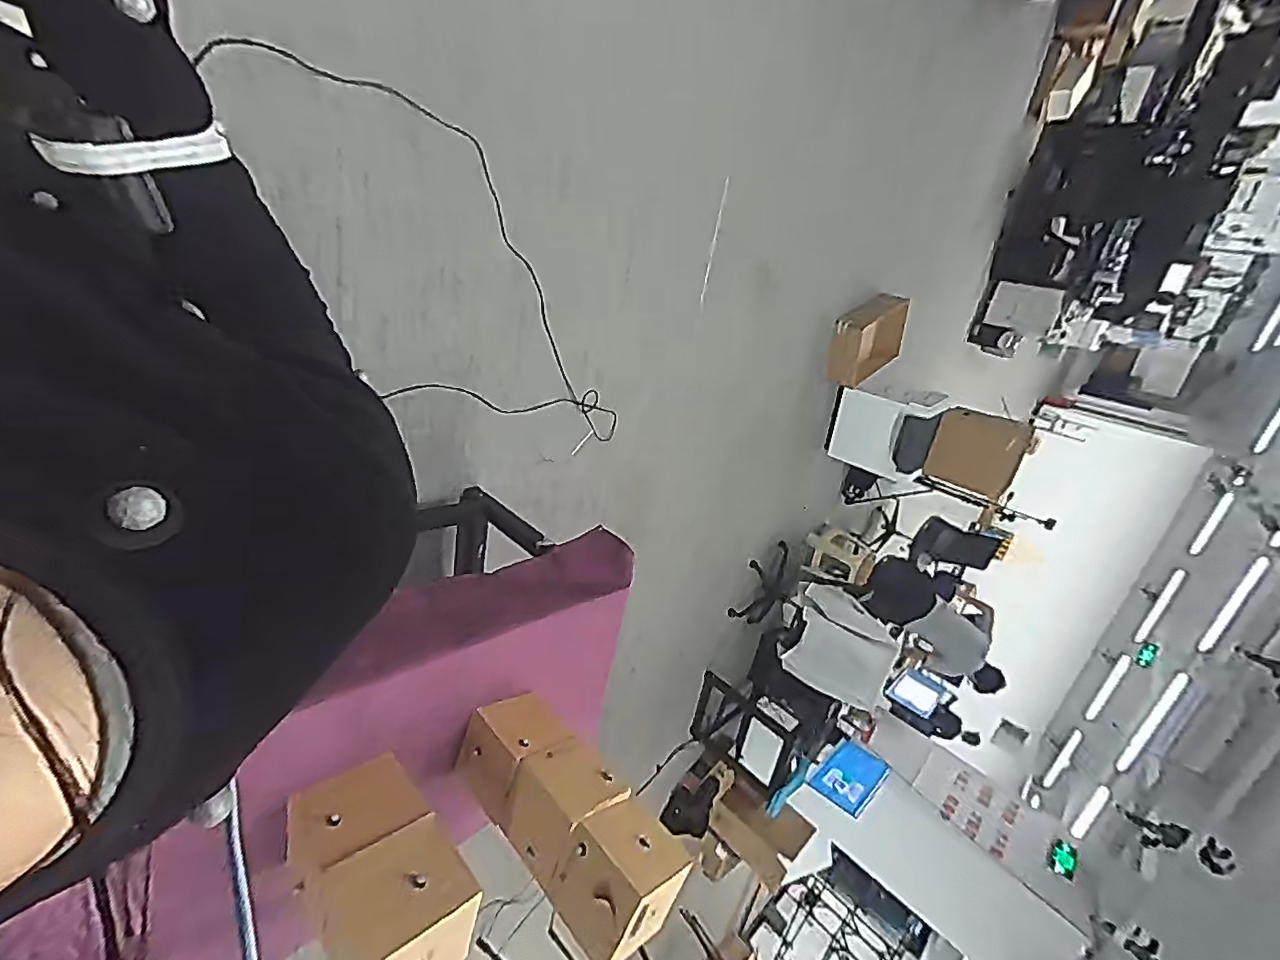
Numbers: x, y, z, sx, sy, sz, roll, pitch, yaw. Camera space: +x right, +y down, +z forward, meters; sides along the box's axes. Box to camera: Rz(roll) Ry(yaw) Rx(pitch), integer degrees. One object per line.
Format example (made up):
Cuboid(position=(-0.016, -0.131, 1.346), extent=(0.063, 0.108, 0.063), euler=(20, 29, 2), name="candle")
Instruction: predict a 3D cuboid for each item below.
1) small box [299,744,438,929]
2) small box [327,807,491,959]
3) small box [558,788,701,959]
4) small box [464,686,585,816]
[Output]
Cuboid(position=(-0.485, 0.616, 0.957), extent=(0.179, 0.176, 0.168), euler=(-9, 119, -46), name="small box")
Cuboid(position=(-0.367, 0.671, 0.857), extent=(0.179, 0.176, 0.168), euler=(-6, 116, -47), name="small box")
Cuboid(position=(-0.023, 0.723, 1.013), extent=(0.179, 0.176, 0.168), euler=(15, 101, -52), name="small box")
Cuboid(position=(-0.258, 0.586, 1.200), extent=(0.179, 0.176, 0.168), euler=(5, 109, -49), name="small box")
